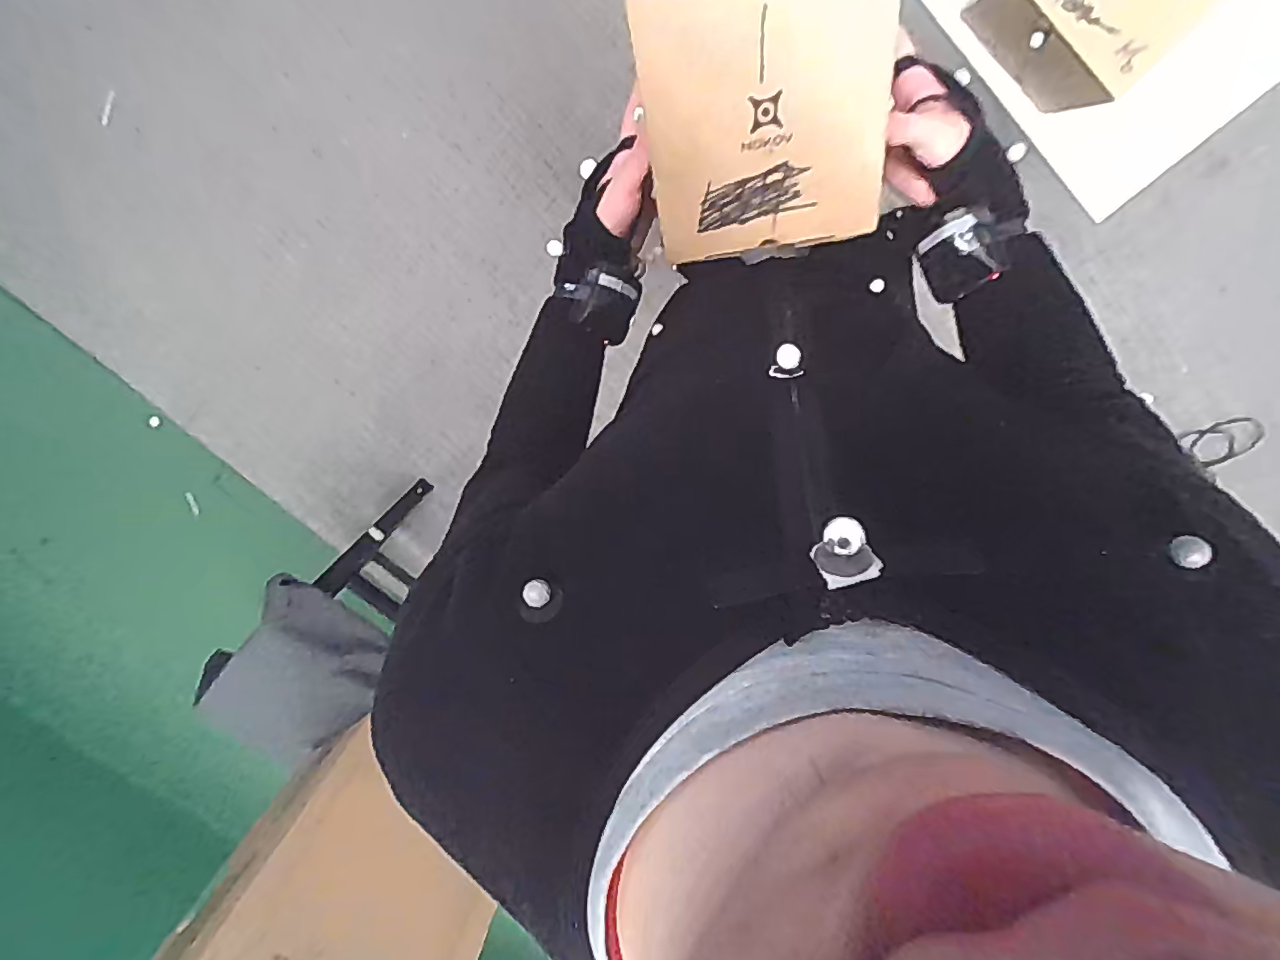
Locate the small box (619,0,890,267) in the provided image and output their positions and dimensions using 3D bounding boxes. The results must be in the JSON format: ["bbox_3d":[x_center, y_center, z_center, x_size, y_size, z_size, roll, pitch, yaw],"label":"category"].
[{"bbox_3d":[0.088,-0.302,0.435,0.168,0.176,0.179,-6,134,11],"label":"small box"}]

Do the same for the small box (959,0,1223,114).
[{"bbox_3d":[0.471,-0.514,0.547,0.168,0.176,0.179,38,118,-10],"label":"small box"}]
